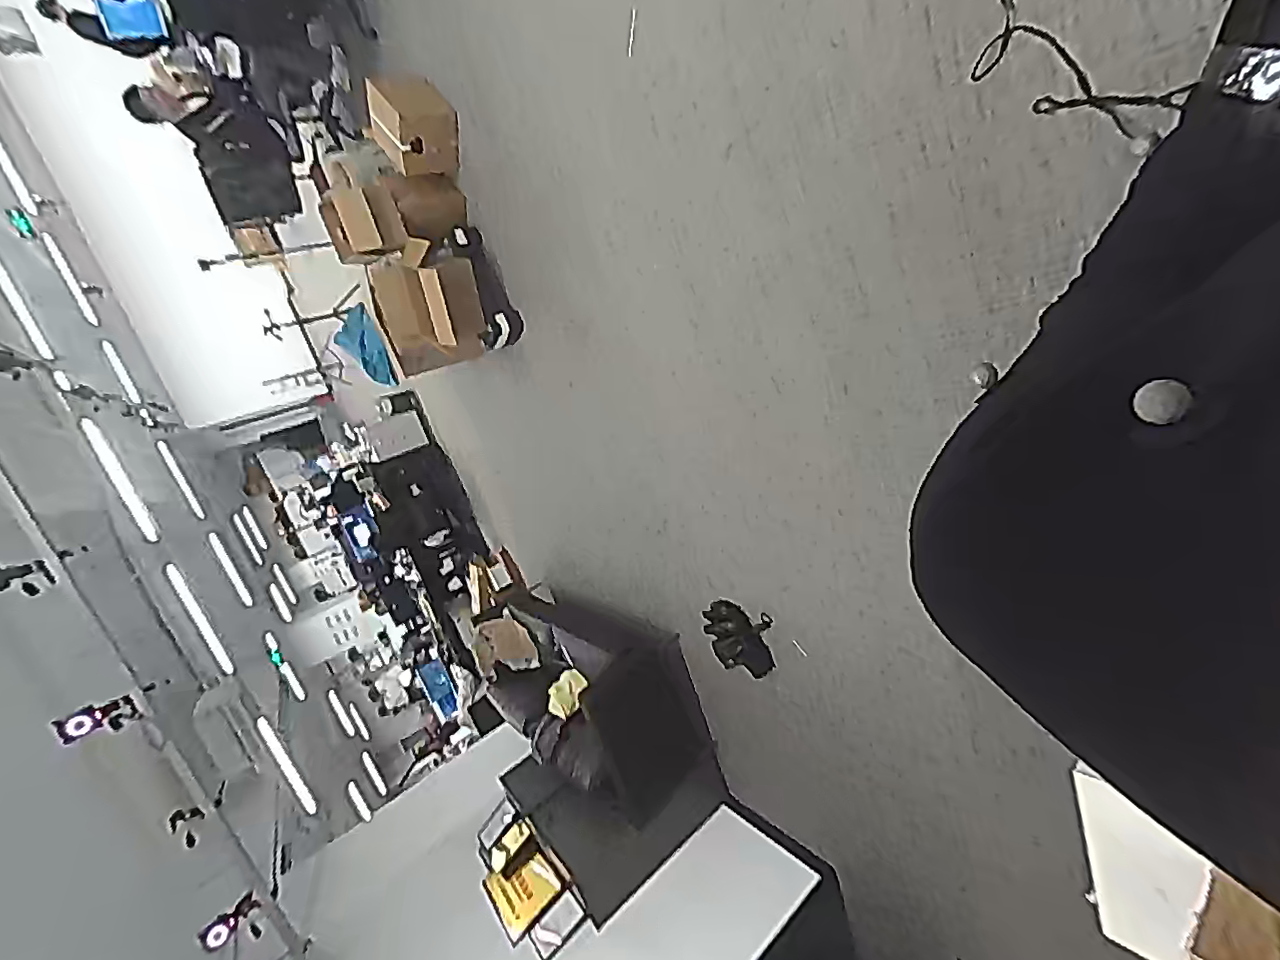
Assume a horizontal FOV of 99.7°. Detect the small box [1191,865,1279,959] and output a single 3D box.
[{"bbox_3d":[0.886,0.678,0.726,0.179,0.176,0.168,5,117,57],"label":"small box"}]
